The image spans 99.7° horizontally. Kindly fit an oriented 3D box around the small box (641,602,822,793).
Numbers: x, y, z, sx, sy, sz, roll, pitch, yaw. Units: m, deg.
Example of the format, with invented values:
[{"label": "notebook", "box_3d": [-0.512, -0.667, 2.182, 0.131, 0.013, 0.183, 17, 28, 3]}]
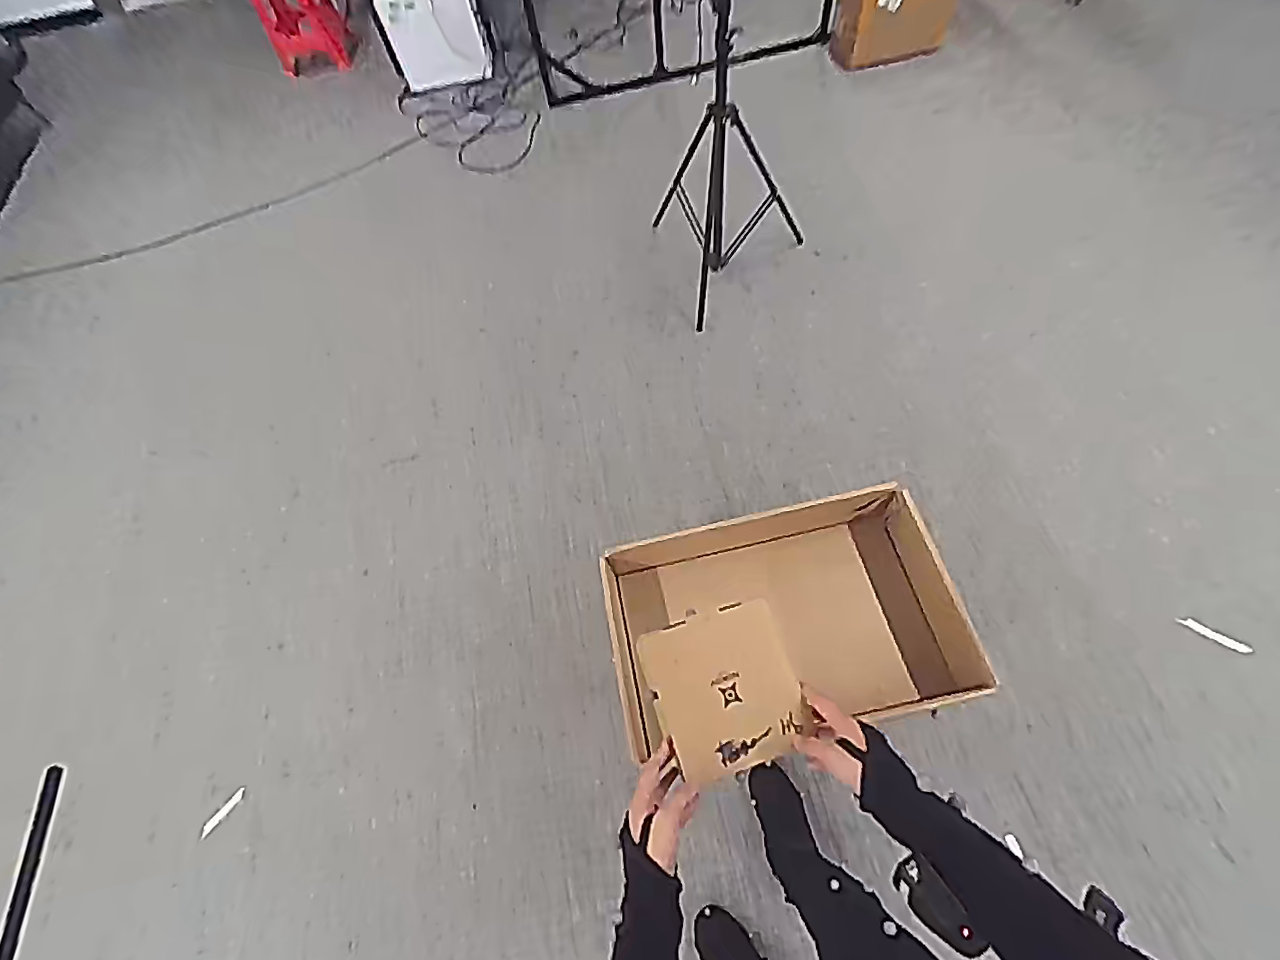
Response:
[{"label": "small box", "box_3d": [0.103, 0.278, 0.708, 0.168, 0.176, 0.179, -15, 70, -9]}]
